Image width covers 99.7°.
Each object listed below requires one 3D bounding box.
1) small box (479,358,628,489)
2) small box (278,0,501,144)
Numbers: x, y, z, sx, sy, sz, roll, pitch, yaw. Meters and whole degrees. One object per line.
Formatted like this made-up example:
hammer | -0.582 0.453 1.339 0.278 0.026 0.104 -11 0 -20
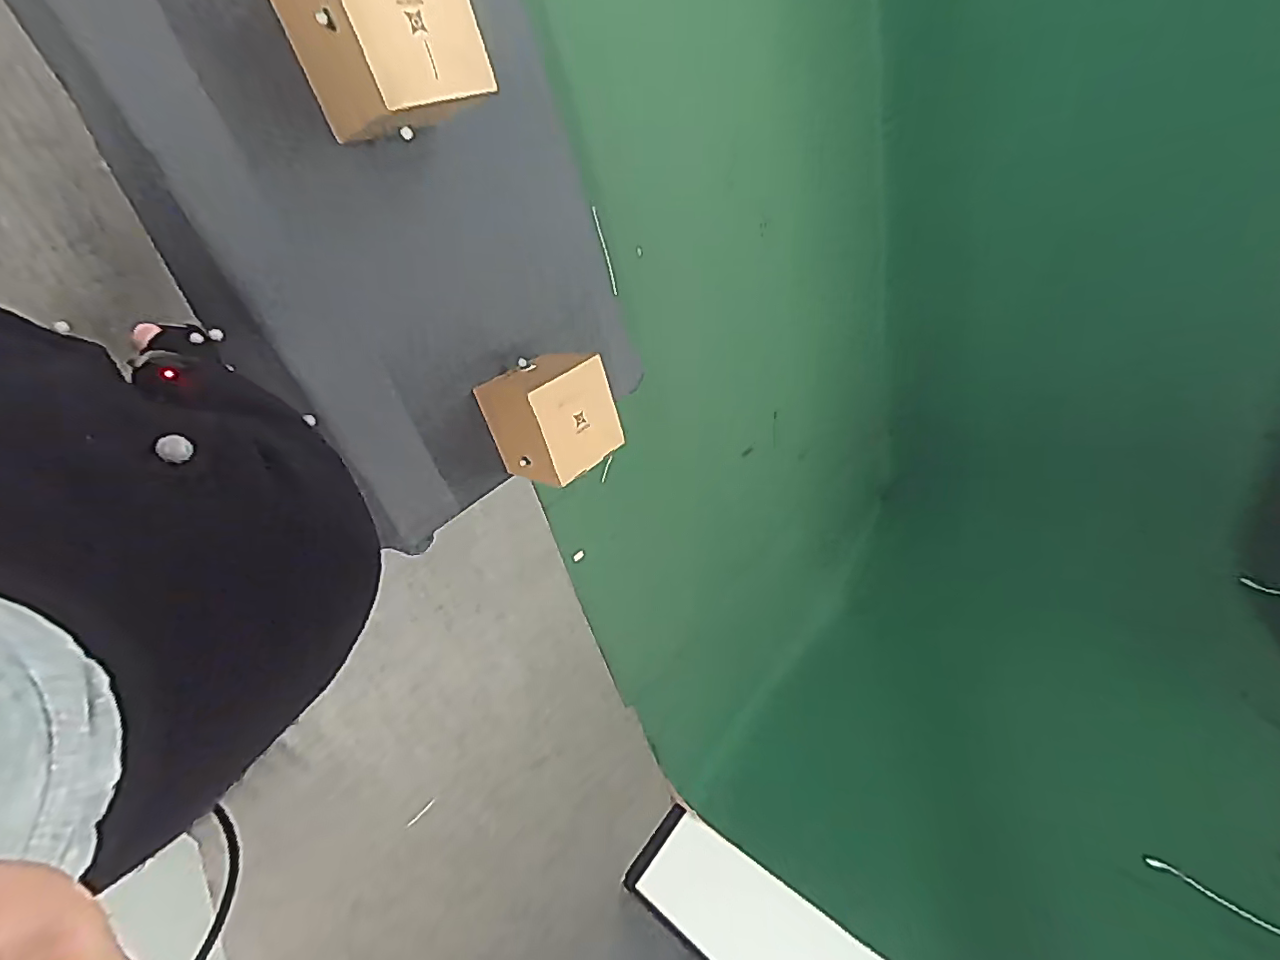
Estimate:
small box | -0.154 -0.109 0.965 0.168 0.176 0.179 -39 125 -34
small box | -0.313 -0.550 0.676 0.168 0.176 0.179 -40 128 -32
